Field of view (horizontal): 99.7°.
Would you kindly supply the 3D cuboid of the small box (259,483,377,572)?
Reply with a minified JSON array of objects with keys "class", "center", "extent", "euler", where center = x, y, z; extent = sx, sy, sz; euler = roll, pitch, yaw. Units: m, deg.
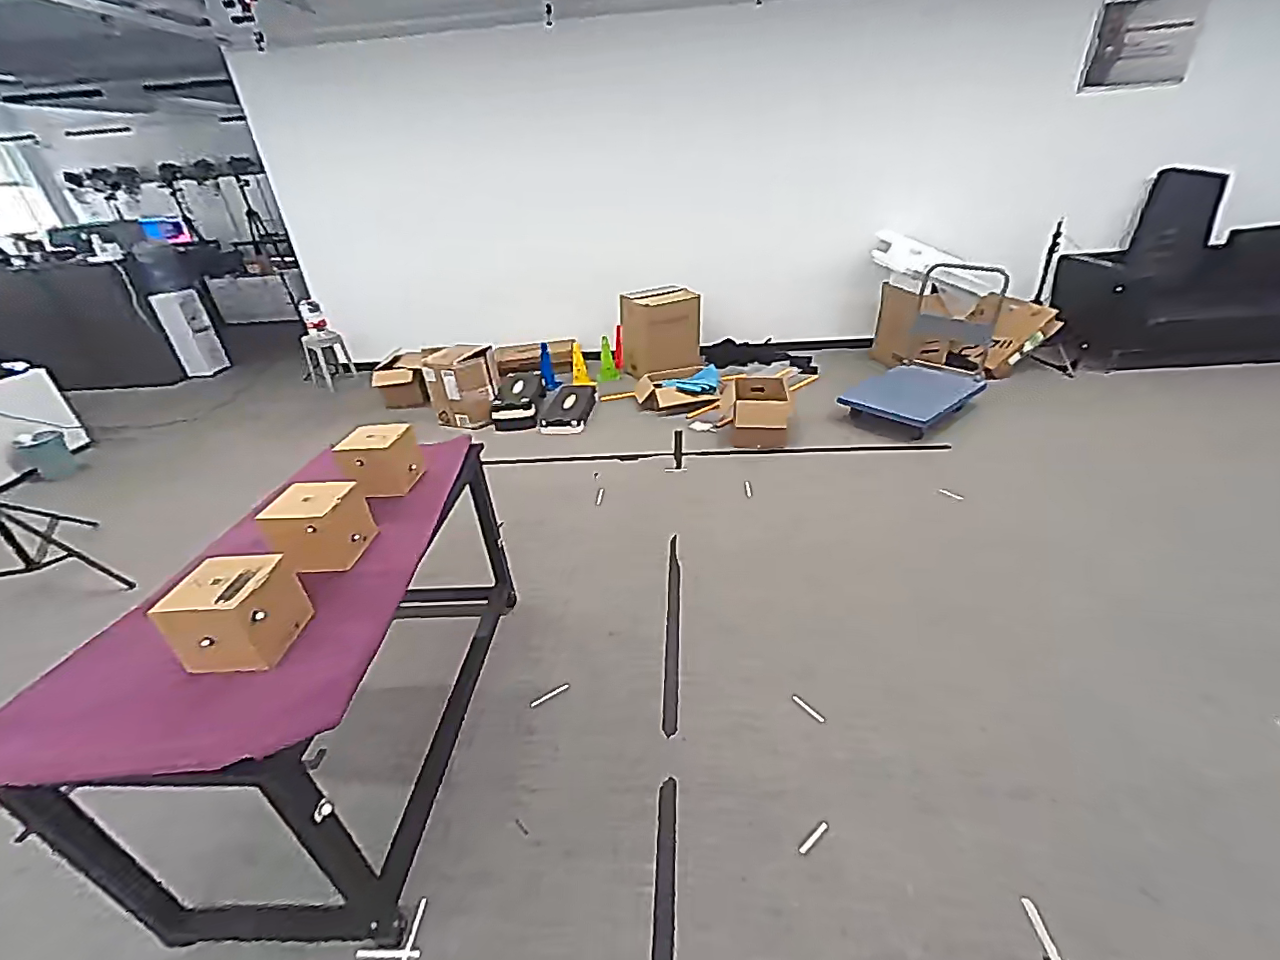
[{"class":"small box","center":[-0.810,0.123,1.380],"extent":[0.179,0.176,0.168],"euler":[-2,30,4]}]

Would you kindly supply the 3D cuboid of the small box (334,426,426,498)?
[{"class":"small box","center":[-0.794,-0.054,1.670],"extent":[0.179,0.176,0.168],"euler":[-2,31,6]}]
